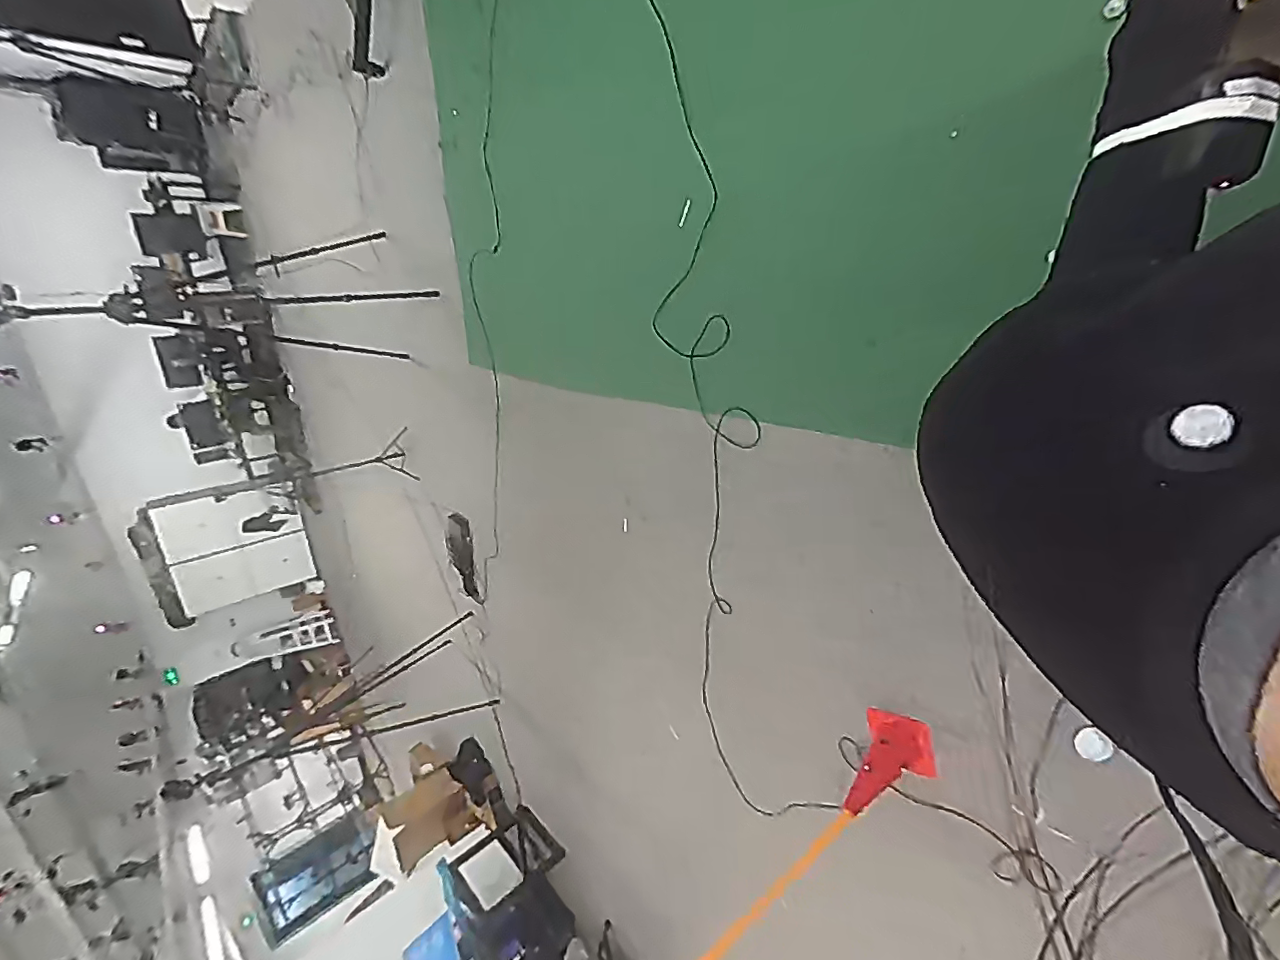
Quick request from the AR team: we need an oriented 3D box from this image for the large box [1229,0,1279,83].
[{"bbox_3d":[0.591,-0.452,0.243,0.408,0.320,0.320,10,113,43],"label":"large box"}]
